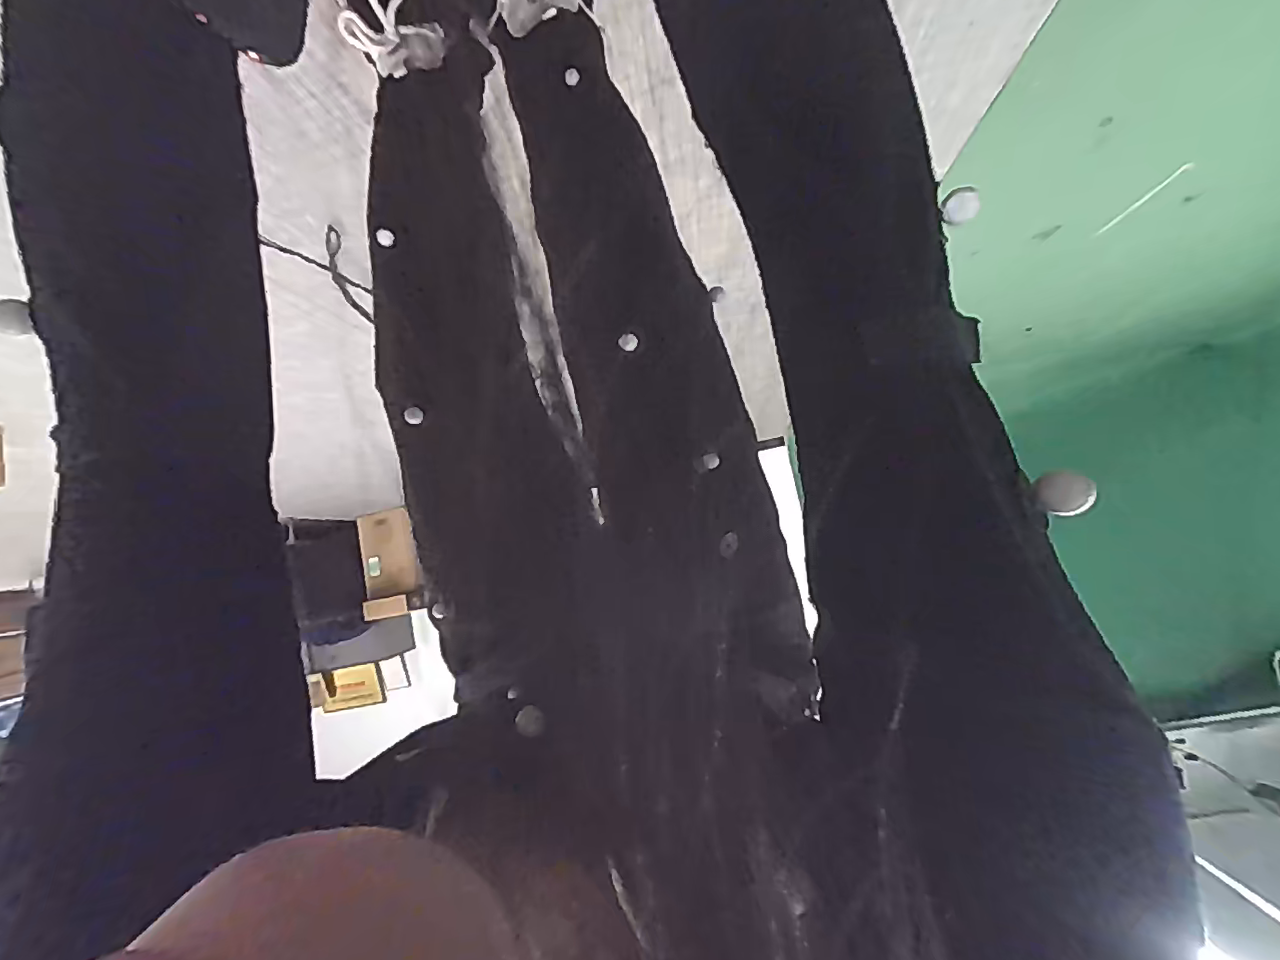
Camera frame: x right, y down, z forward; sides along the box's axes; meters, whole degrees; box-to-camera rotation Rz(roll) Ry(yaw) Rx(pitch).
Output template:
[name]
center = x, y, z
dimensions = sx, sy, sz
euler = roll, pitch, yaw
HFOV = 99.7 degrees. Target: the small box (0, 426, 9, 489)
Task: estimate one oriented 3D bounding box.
[small box]
center = -1.697, -0.051, 1.296
dimensions = 0.168, 0.176, 0.179
euler = -13, 175, 8
